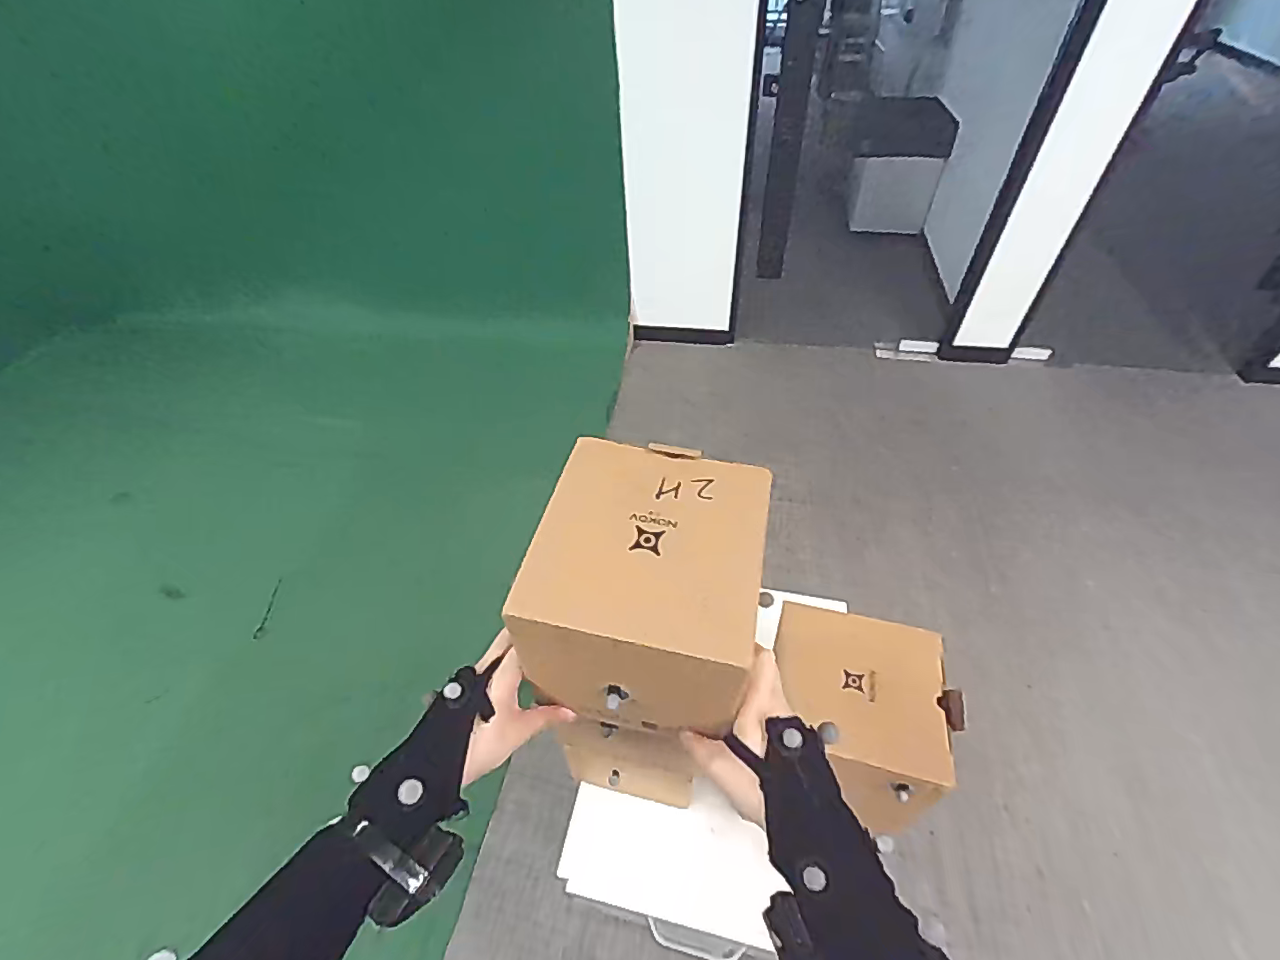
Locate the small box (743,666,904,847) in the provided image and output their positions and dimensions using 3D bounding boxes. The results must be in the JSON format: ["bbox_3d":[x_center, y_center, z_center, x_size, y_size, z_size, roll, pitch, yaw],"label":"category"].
[{"bbox_3d":[0.244,0.385,0.748,0.179,0.176,0.168,7,48,12],"label":"small box"}]

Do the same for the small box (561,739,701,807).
[{"bbox_3d":[0.003,0.353,0.786,0.179,0.176,0.168,9,49,10],"label":"small box"}]

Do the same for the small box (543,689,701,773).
[{"bbox_3d":[-0.001,0.239,0.667,0.179,0.176,0.168,10,49,9],"label":"small box"}]

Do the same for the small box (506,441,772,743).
[{"bbox_3d":[0.009,0.097,0.458,0.168,0.176,0.179,11,48,8],"label":"small box"}]
